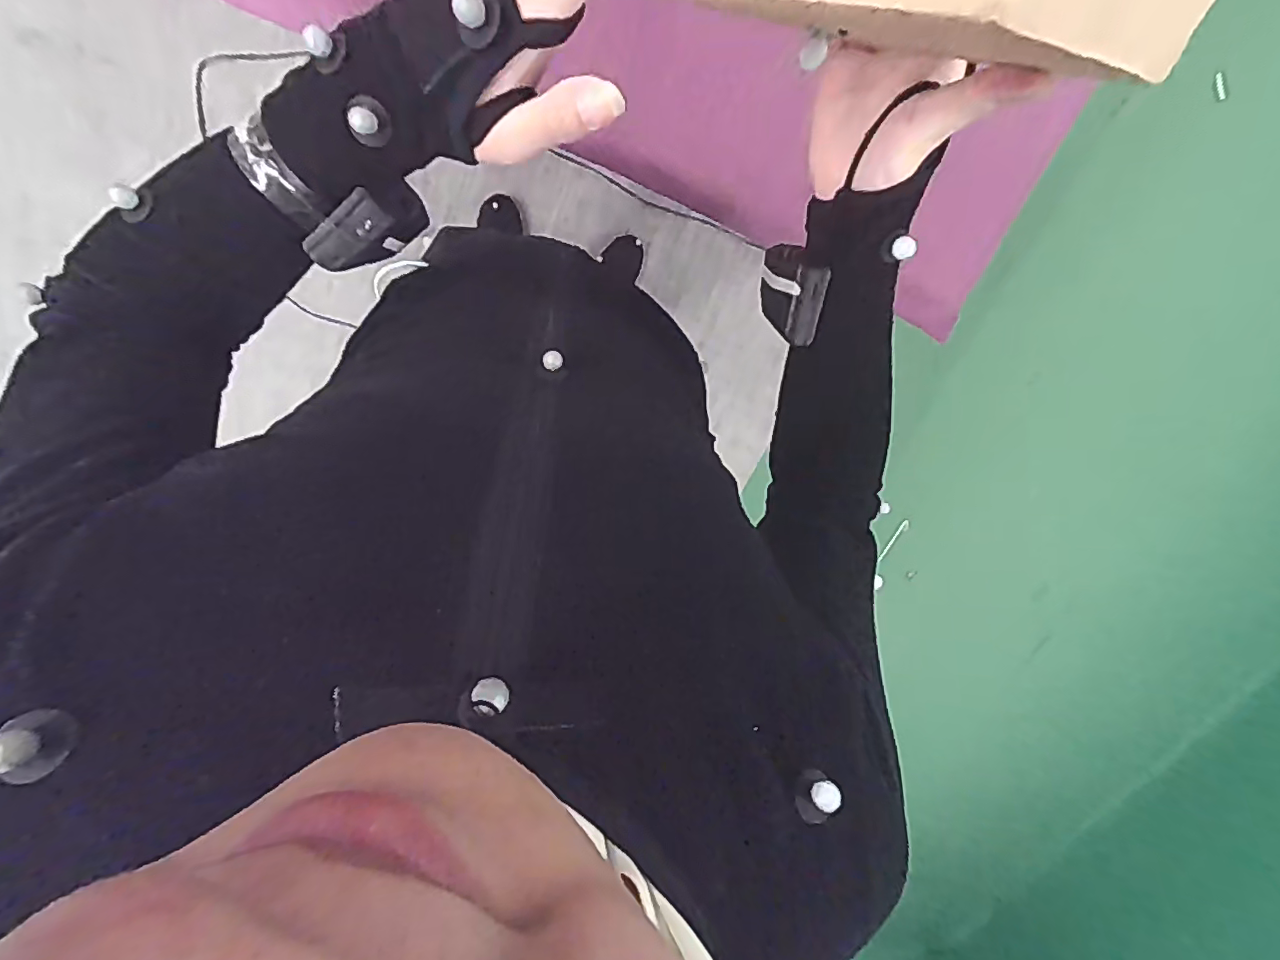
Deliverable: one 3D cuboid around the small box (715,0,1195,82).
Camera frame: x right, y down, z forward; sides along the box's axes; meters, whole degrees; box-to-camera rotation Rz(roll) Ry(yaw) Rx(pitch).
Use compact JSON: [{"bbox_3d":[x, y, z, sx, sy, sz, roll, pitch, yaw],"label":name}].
[{"bbox_3d":[0.127,-0.264,0.193,0.179,0.176,0.168,-21,139,-34],"label":"small box"}]
